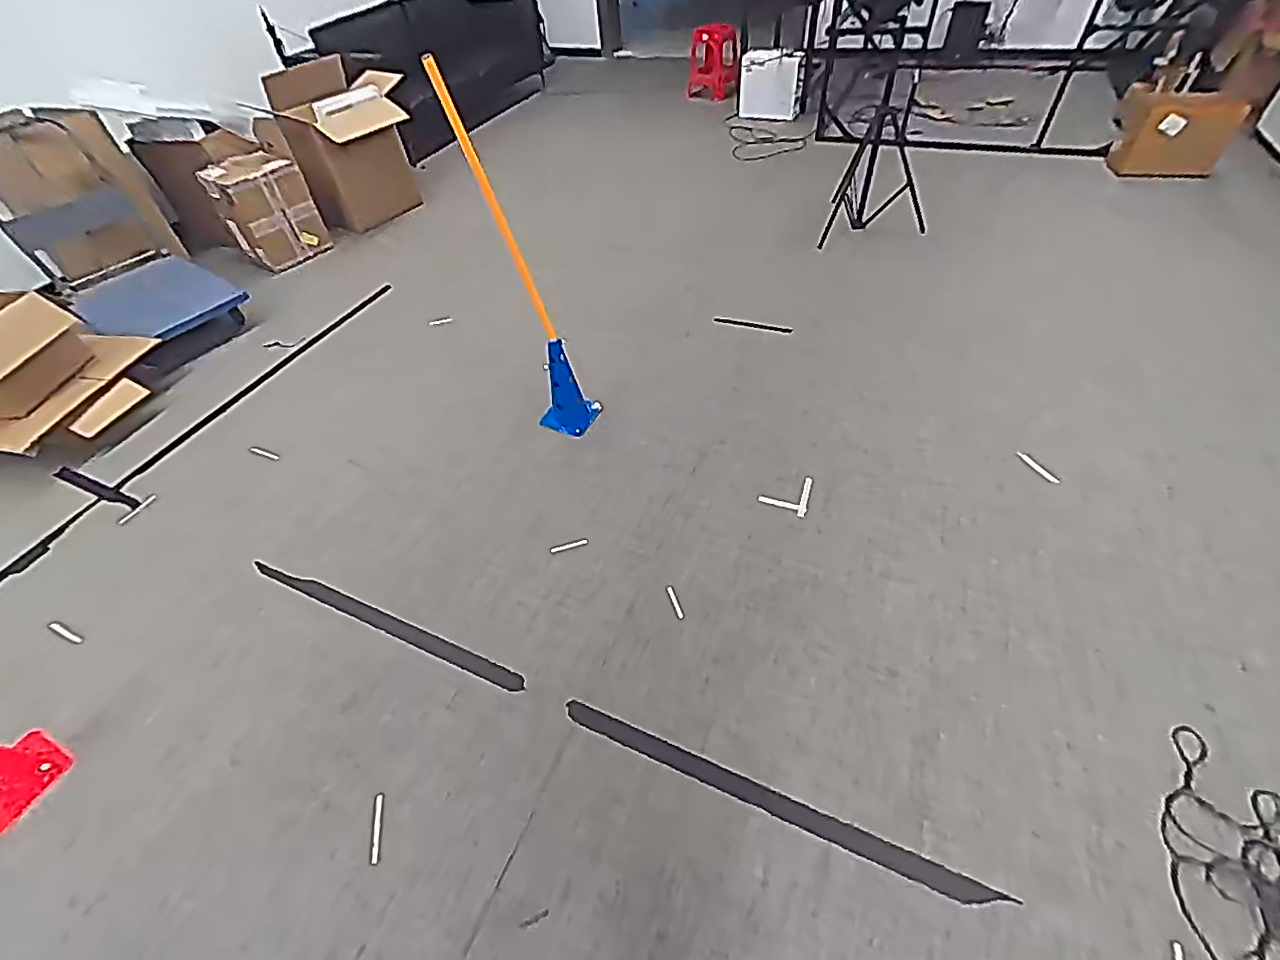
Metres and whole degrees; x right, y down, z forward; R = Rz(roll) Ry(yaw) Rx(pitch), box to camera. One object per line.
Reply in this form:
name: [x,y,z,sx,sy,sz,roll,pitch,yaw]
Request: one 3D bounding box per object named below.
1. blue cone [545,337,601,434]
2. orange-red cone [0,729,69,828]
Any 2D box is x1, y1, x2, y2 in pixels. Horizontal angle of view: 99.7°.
blue cone: [-0.281,-0.372,2.035,0.192,0.380,0.193,19,53,20]
orange-red cone: [-1.599,0.646,1.239,0.199,0.360,0.198,18,53,21]
